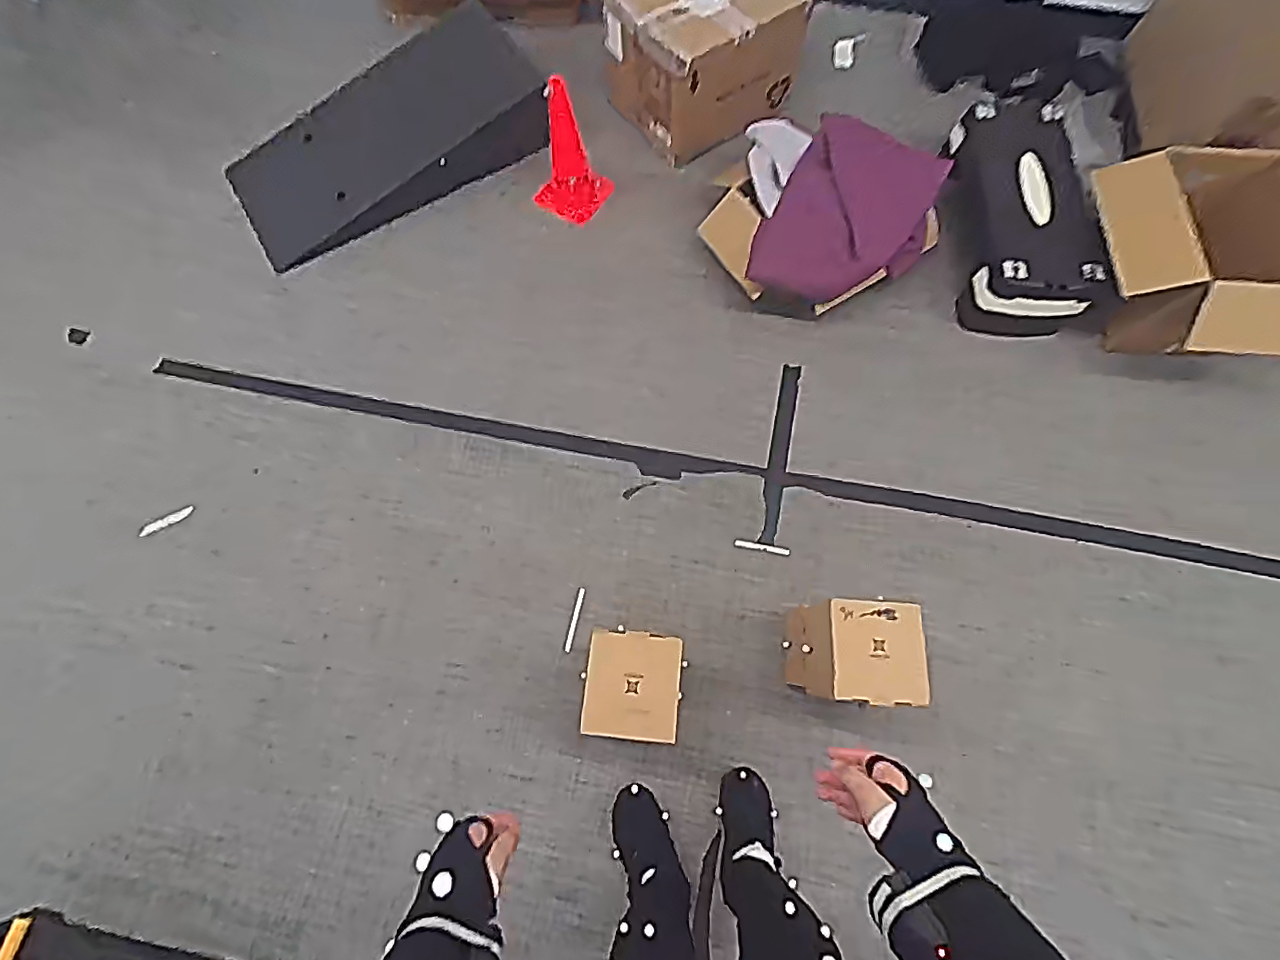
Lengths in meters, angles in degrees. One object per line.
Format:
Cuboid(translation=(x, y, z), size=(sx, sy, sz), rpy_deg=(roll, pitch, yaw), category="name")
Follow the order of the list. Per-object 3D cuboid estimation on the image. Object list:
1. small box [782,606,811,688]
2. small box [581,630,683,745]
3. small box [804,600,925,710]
Cuboid(translation=(0.424, 0.376, 1.192), size=(0.179, 0.176, 0.168), rpy_deg=(6, 71, 2), category="small box")
Cuboid(translation=(-0.011, 0.384, 1.019), size=(0.168, 0.176, 0.179), rpy_deg=(5, 72, 4), category="small box")
Cuboid(translation=(0.420, 0.331, 1.035), size=(0.168, 0.176, 0.179), rpy_deg=(4, 72, 2), category="small box")
